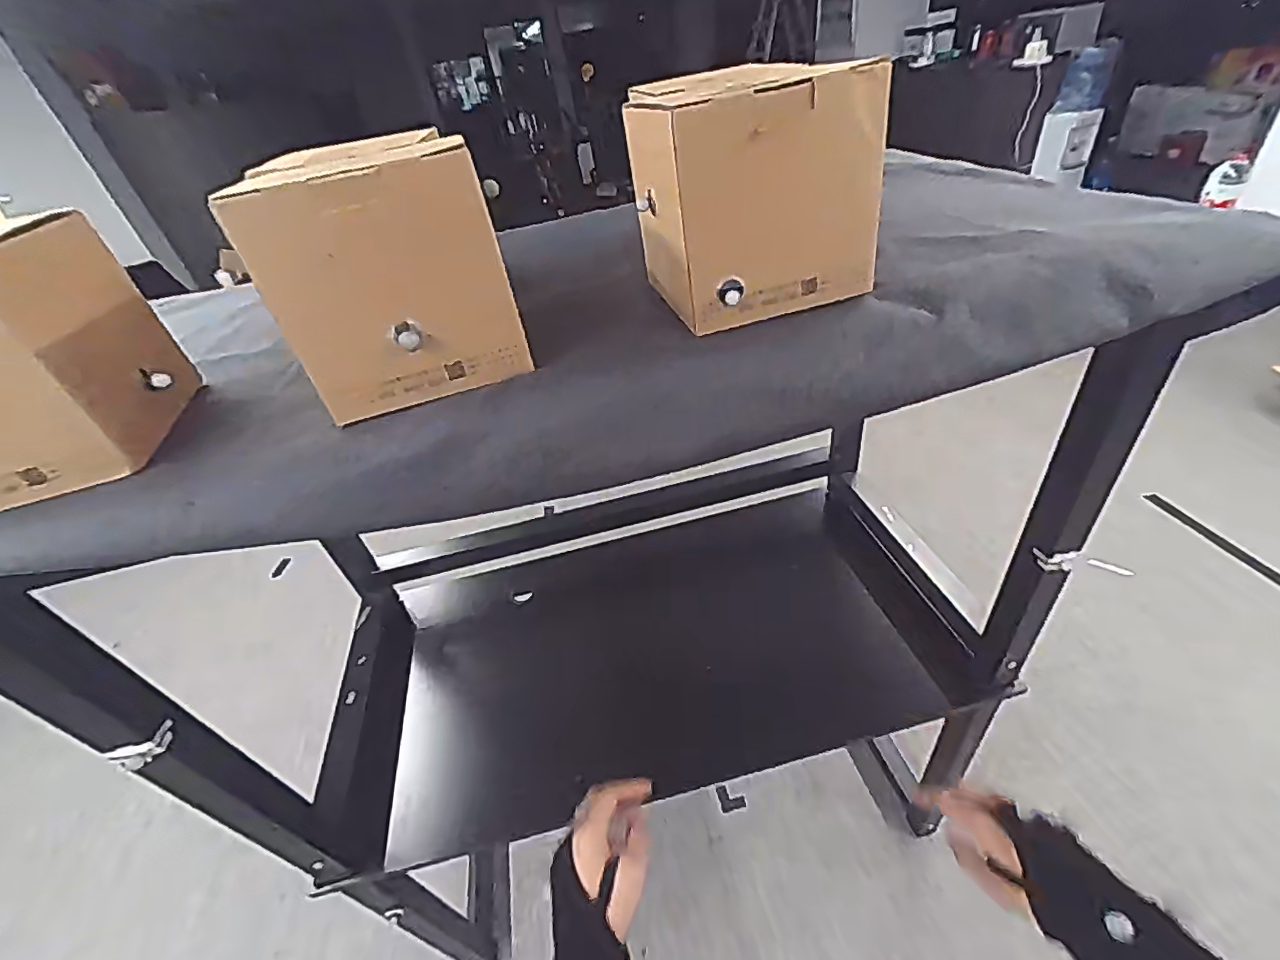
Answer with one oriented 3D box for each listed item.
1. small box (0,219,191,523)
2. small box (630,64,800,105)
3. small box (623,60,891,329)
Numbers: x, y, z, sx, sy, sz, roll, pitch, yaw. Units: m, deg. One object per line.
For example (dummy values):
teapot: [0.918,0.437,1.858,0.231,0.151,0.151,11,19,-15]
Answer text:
small box: [-0.501,-0.080,0.415,0.168,0.176,0.179,-19,39,-10]
small box: [0.091,-0.390,0.662,0.168,0.176,0.179,-14,39,-4]
small box: [0.094,-0.249,0.482,0.168,0.176,0.179,-16,37,-5]
